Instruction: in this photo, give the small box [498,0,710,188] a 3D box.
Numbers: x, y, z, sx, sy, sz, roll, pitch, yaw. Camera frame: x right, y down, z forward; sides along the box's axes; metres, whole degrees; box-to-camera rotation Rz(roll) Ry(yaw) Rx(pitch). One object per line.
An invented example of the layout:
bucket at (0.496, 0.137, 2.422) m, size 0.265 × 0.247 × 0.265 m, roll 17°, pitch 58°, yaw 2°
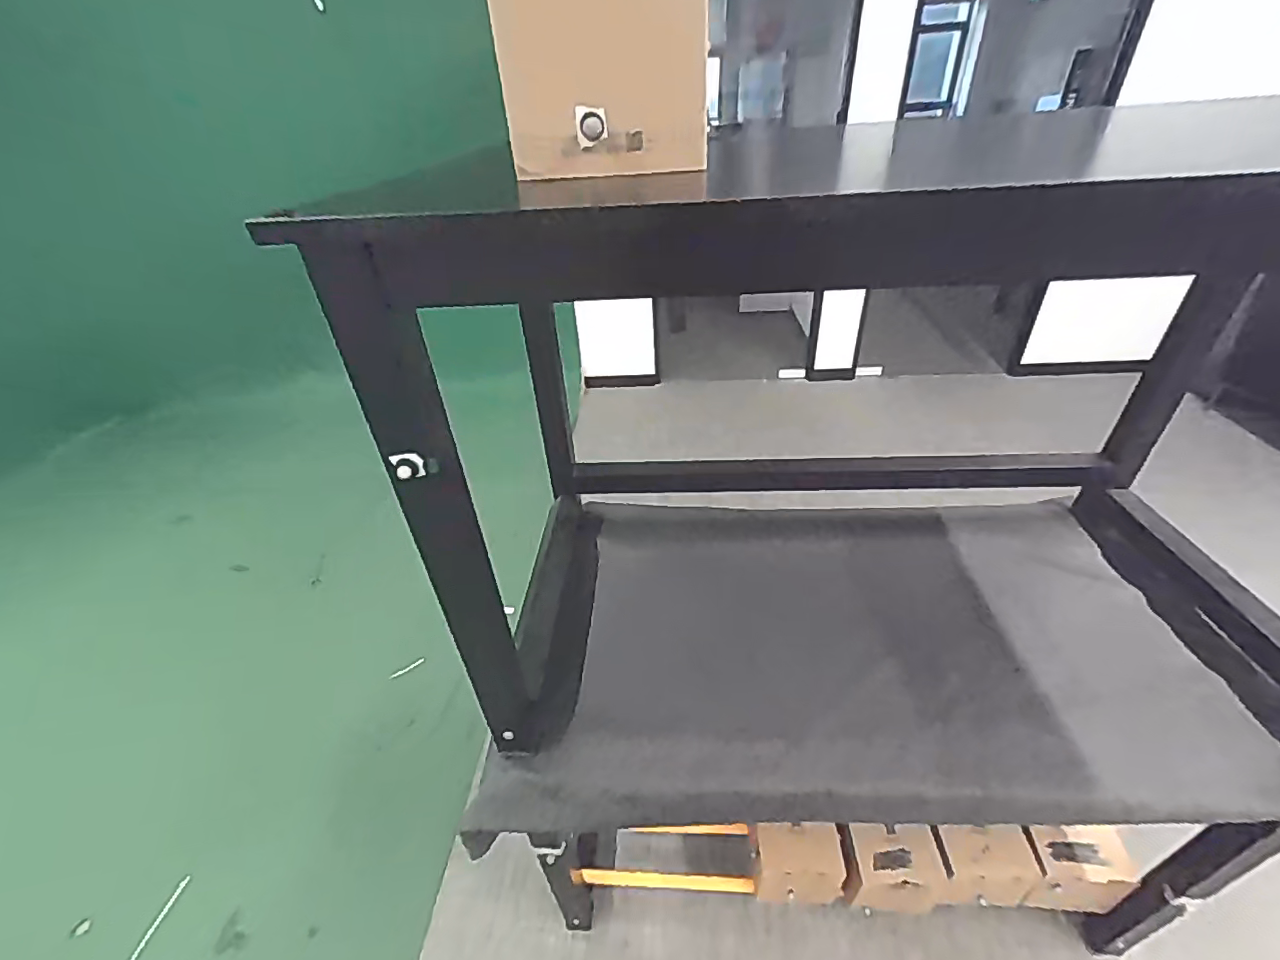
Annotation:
small box at (-0.027, -0.376, 0.499) m, size 0.168 × 0.176 × 0.179 m, roll -4°, pitch 36°, yaw 2°
